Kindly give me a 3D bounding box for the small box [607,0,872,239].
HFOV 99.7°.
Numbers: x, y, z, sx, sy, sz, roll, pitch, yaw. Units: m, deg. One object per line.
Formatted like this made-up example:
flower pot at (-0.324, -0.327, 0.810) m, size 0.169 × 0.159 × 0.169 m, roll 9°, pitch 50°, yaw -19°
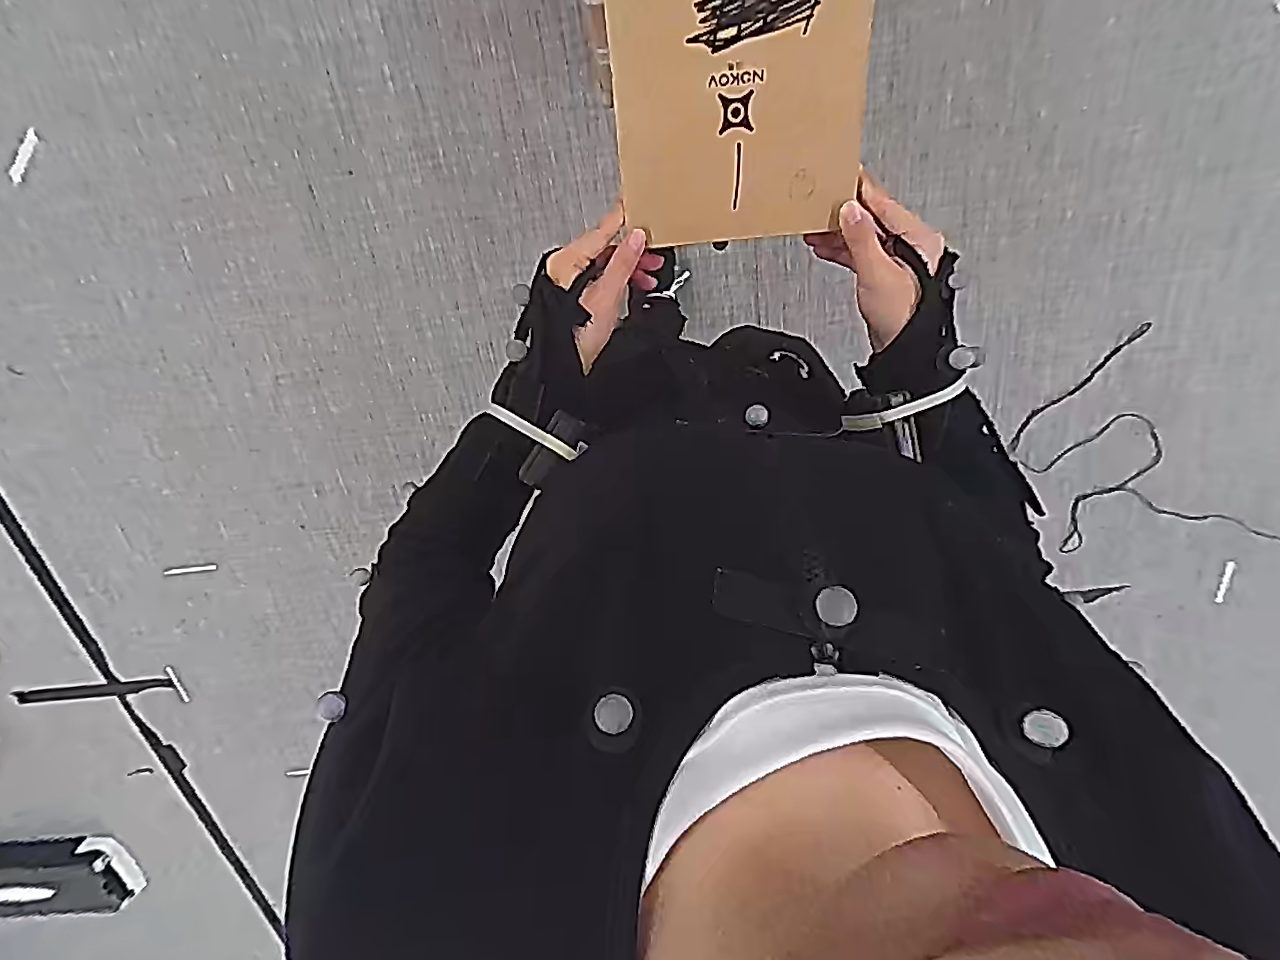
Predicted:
small box at (0.068, -0.295, 0.422) m, size 0.168 × 0.176 × 0.179 m, roll -3°, pitch 119°, yaw 6°
